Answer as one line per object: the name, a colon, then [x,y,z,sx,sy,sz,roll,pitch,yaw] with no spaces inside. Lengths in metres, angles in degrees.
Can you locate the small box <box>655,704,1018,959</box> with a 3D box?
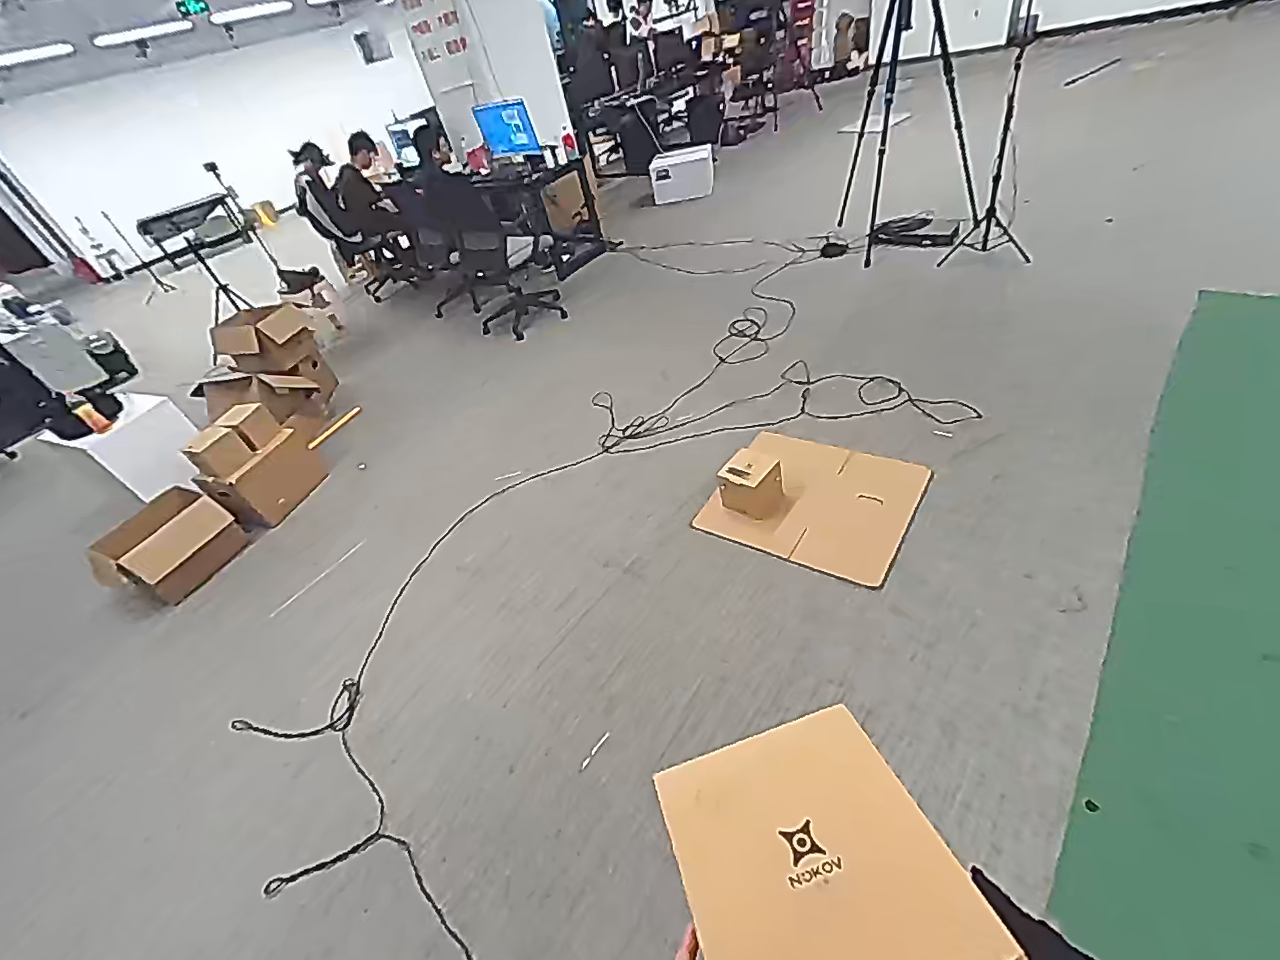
small box: [0.121,0.308,0.390,0.168,0.176,0.179,-17,29,-7]
